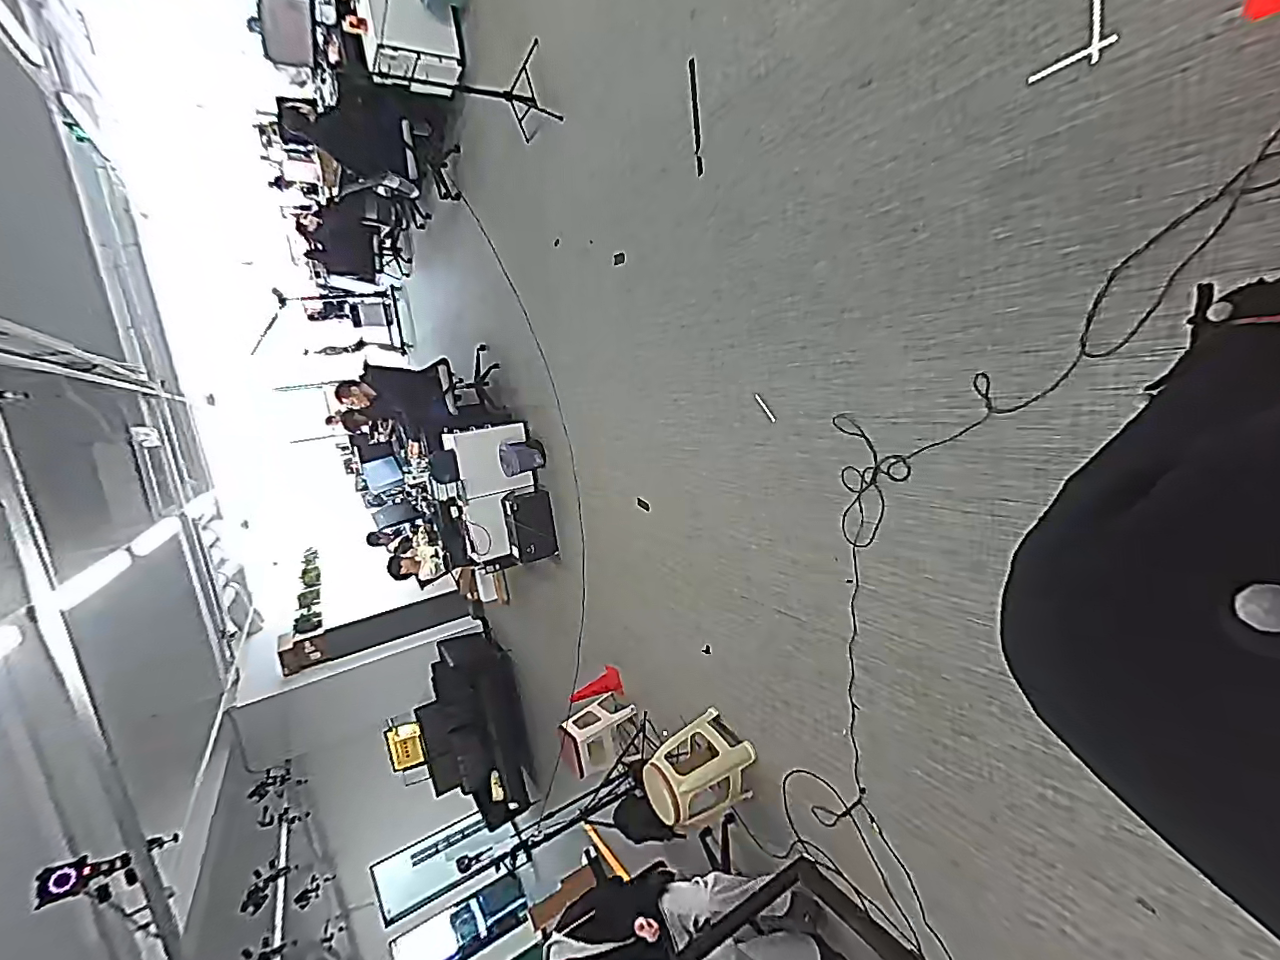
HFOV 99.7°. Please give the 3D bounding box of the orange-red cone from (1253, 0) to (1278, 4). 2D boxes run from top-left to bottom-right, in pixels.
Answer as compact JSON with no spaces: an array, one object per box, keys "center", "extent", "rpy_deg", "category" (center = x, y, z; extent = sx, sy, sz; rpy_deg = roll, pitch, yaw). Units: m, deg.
[{"center":[0.915,-0.829,0.718],"extent":[0.199,0.360,0.198],"rpy_deg":[20,117,57],"category":"orange-red cone"}]
